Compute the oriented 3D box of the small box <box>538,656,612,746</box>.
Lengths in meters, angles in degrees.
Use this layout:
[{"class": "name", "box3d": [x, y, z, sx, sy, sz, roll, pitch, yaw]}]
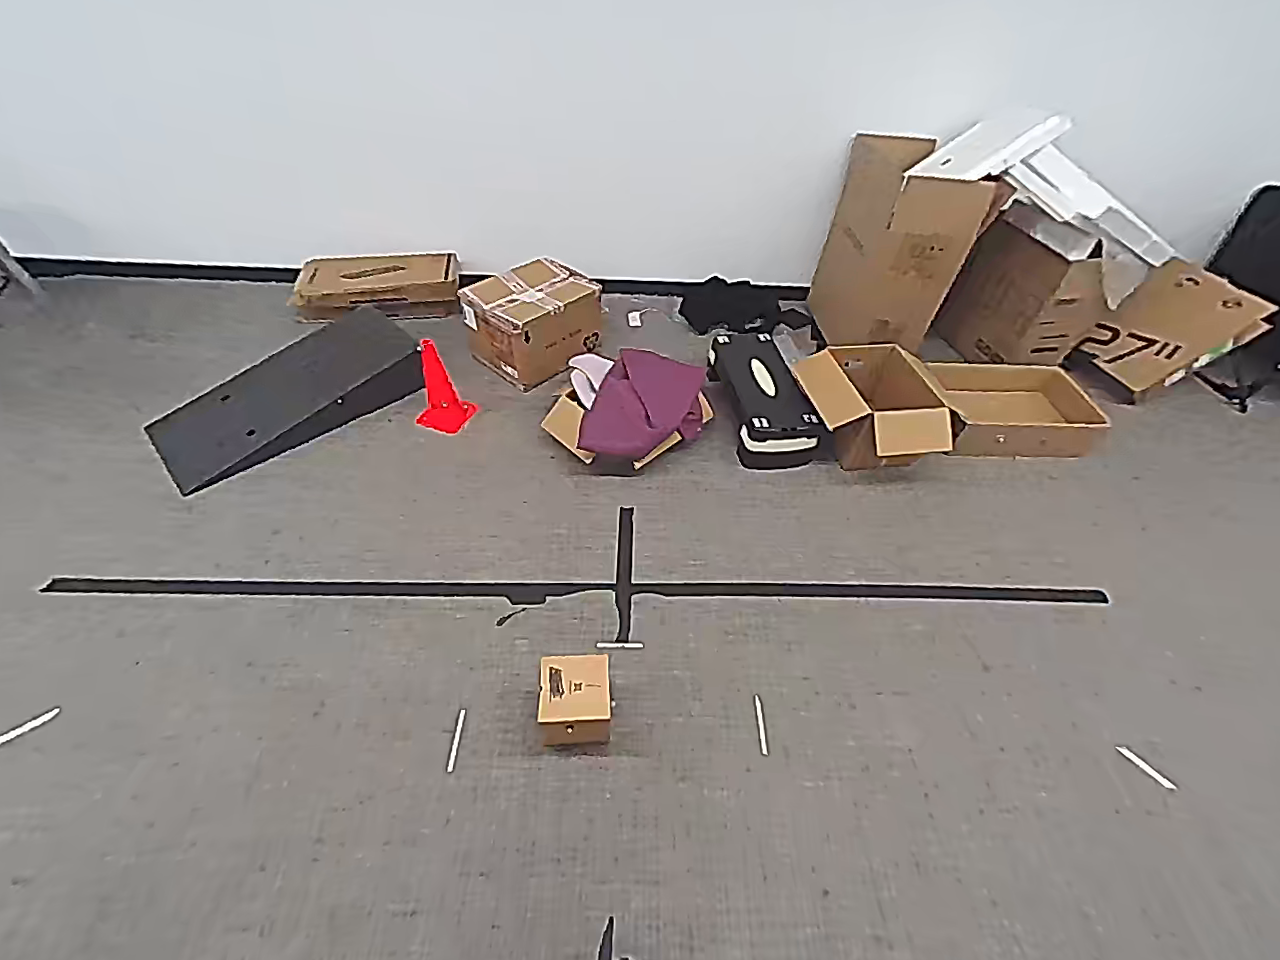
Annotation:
[{"class": "small box", "box3d": [-0.162, 0.570, 1.387, 0.179, 0.176, 0.168, -1, 47, -5]}]
